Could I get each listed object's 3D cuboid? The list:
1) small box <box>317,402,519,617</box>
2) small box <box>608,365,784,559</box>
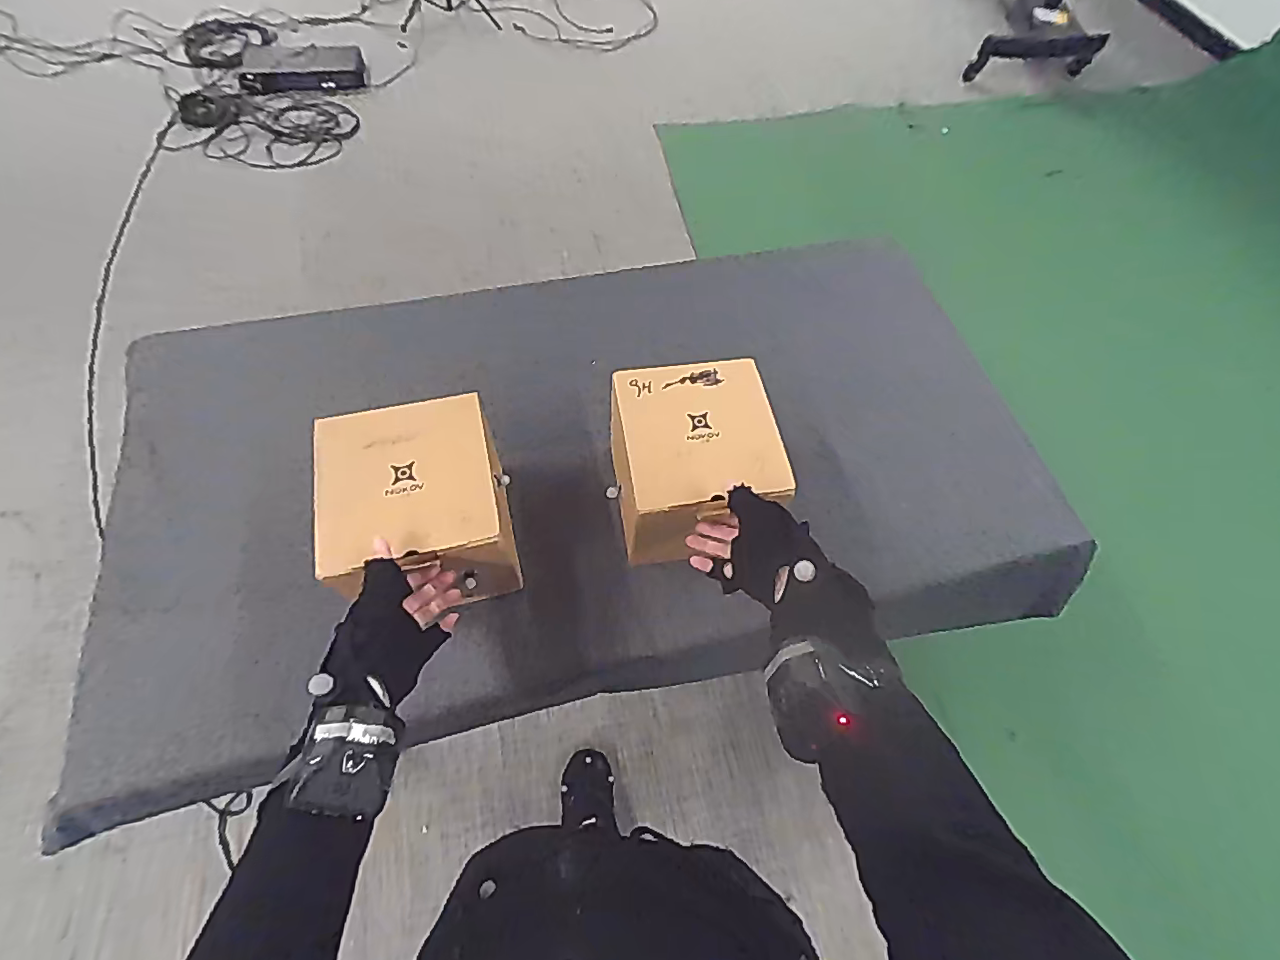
[{"bbox_3d":[-0.240,0.043,0.610,0.168,0.176,0.179,-13,62,-11],"label":"small box"},{"bbox_3d":[0.053,-0.012,0.652,0.168,0.176,0.179,-7,65,-7],"label":"small box"}]
